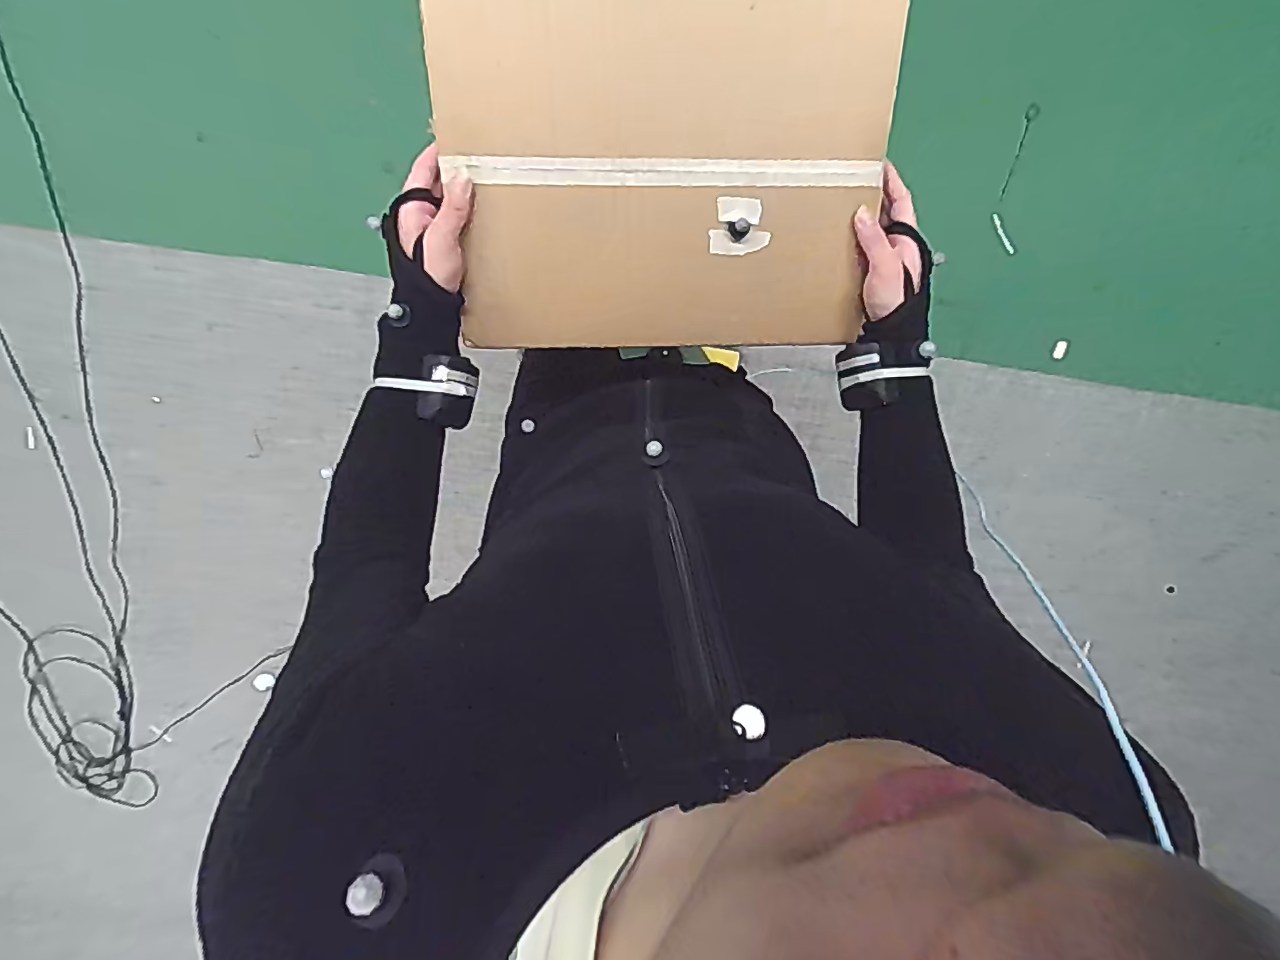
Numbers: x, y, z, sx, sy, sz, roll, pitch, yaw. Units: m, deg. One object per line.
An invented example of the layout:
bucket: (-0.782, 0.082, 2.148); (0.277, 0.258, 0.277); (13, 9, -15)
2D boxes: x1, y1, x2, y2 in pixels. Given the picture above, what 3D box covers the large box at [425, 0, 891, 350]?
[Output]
large box: (0.008, -0.341, 0.642); (0.408, 0.320, 0.320); (-3, 114, -5)
